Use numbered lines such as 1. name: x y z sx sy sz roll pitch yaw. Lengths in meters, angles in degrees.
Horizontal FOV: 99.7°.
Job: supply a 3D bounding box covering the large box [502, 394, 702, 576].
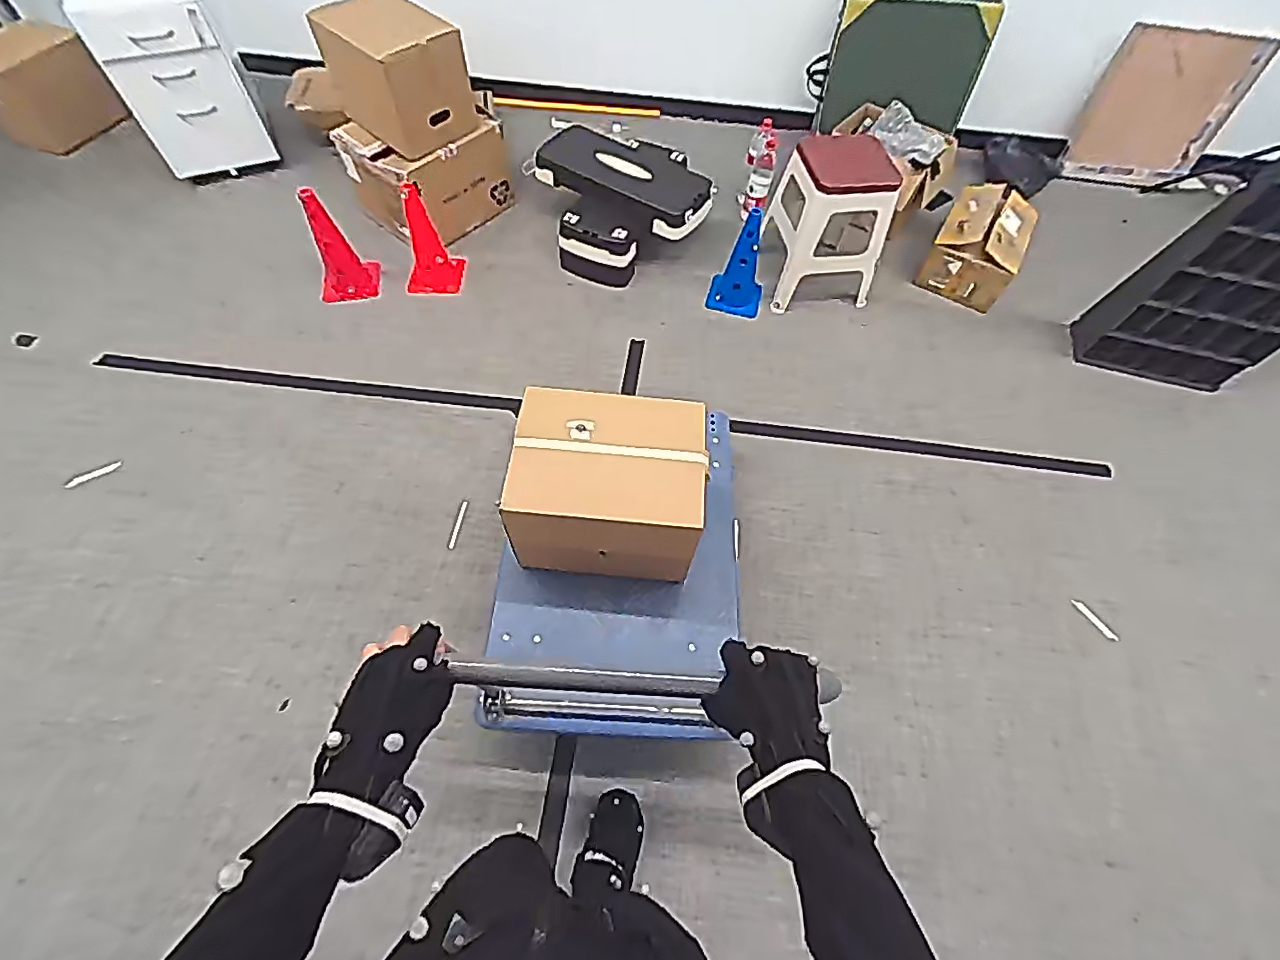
1. large box: -0.071 0.024 1.274 0.408 0.320 0.320 5 60 0
